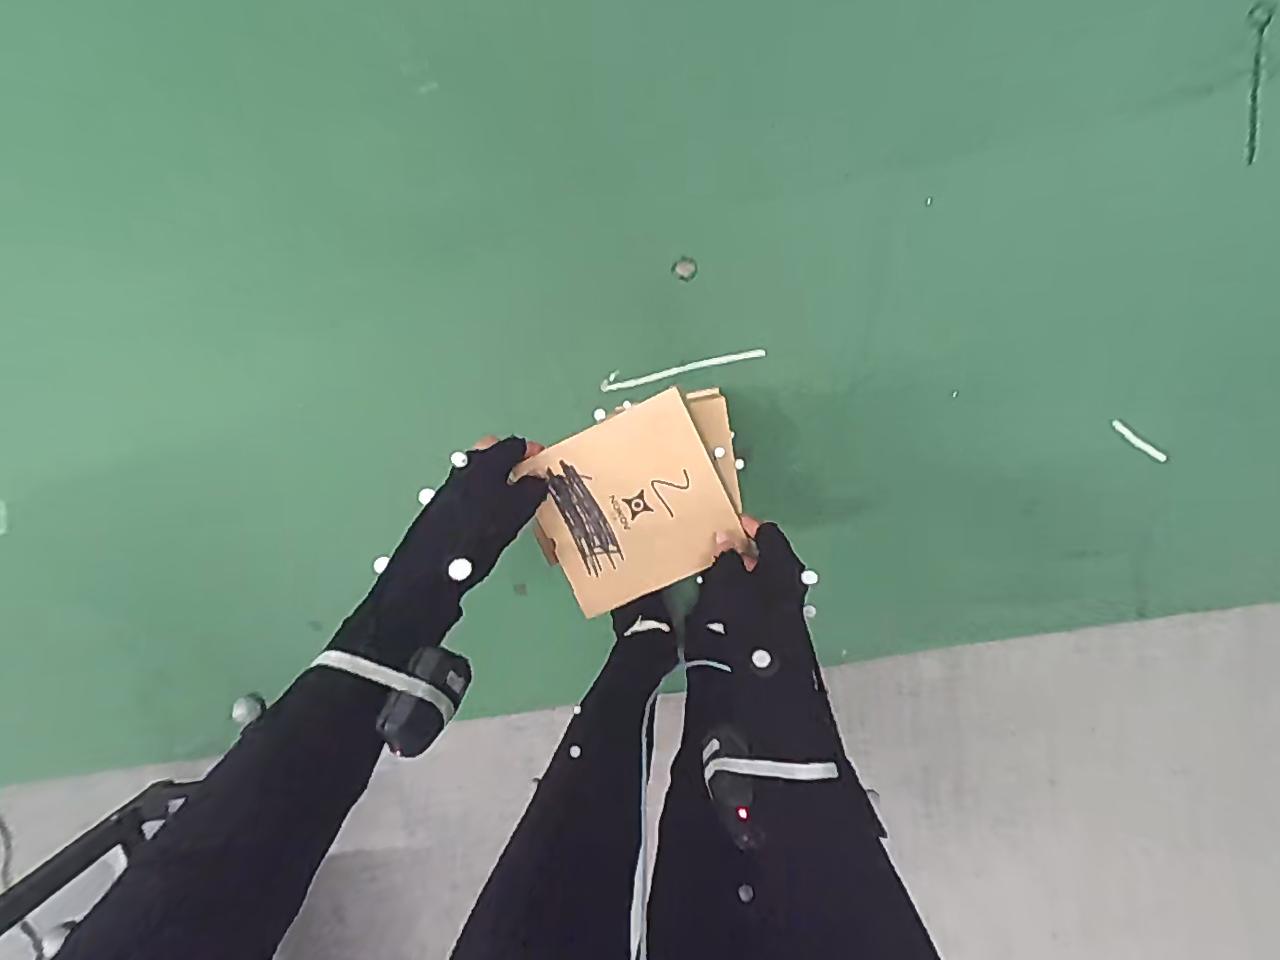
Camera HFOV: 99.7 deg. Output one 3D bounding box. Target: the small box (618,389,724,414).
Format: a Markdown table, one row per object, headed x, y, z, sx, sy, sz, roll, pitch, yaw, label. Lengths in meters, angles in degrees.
| x | y | z | sx | sy | sz | roll | pitch | yaw | label |
| --- | --- | --- | --- | --- | --- | --- | --- | --- | --- |
| 0.069 | -0.069 | 0.968 | 0.179 | 0.176 | 0.168 | -9 | 99 | 8 | small box |

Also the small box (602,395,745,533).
| x | y | z | sx | sy | sz | roll | pitch | yaw | label |
| --- | --- | --- | --- | --- | --- | --- | --- | --- | --- |
| 0.053 | -0.032 | 0.810 | 0.179 | 0.176 | 0.168 | -9 | 100 | 8 | small box |
